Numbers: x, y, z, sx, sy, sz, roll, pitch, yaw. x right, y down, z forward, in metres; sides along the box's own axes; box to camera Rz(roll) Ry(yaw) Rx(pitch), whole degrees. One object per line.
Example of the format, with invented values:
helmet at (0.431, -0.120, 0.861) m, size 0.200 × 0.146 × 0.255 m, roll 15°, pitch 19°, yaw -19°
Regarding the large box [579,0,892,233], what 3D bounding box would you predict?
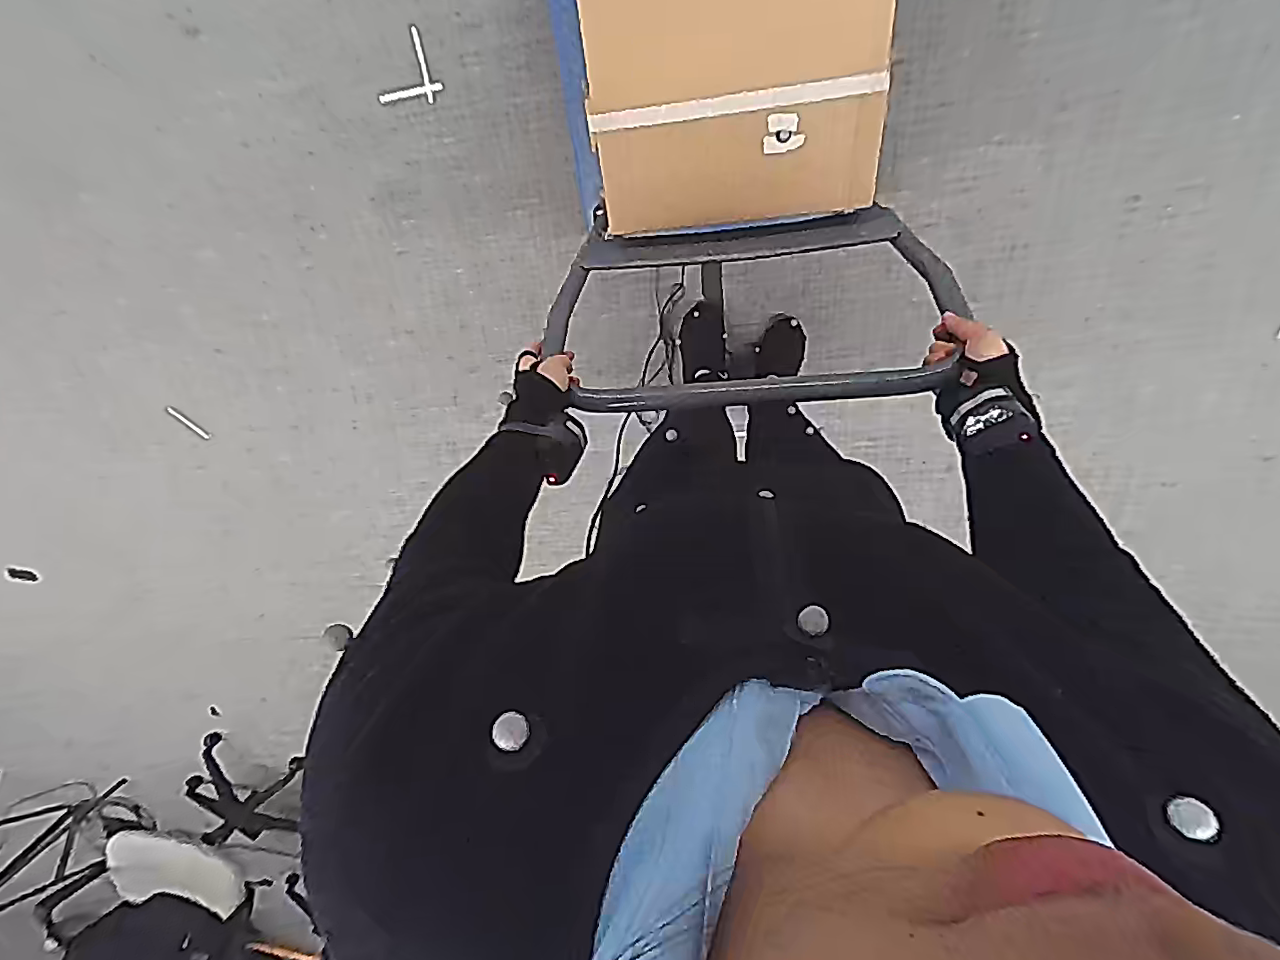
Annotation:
large box at (0.145, -0.624, 0.877) m, size 0.408 × 0.320 × 0.320 m, roll -4°, pitch 128°, yaw 8°
